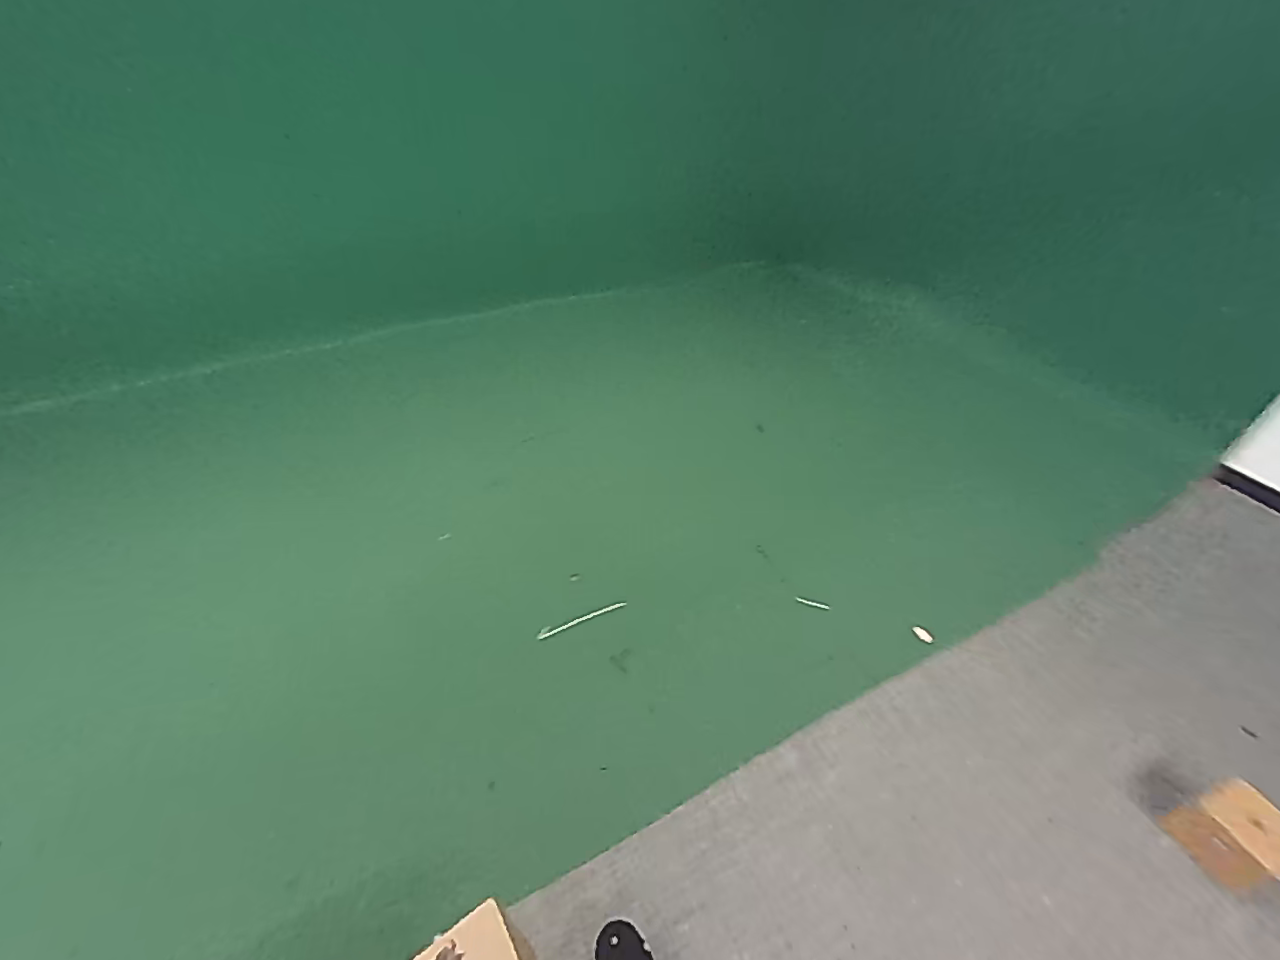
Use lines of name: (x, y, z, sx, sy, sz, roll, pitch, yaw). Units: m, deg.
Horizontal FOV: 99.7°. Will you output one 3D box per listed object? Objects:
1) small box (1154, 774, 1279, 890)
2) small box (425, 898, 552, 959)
small box: (1.477, 0.887, 1.363, 0.168, 0.176, 0.179, -16, 45, -16)
small box: (-0.146, 0.570, 0.524, 0.168, 0.176, 0.179, -25, 40, -24)
